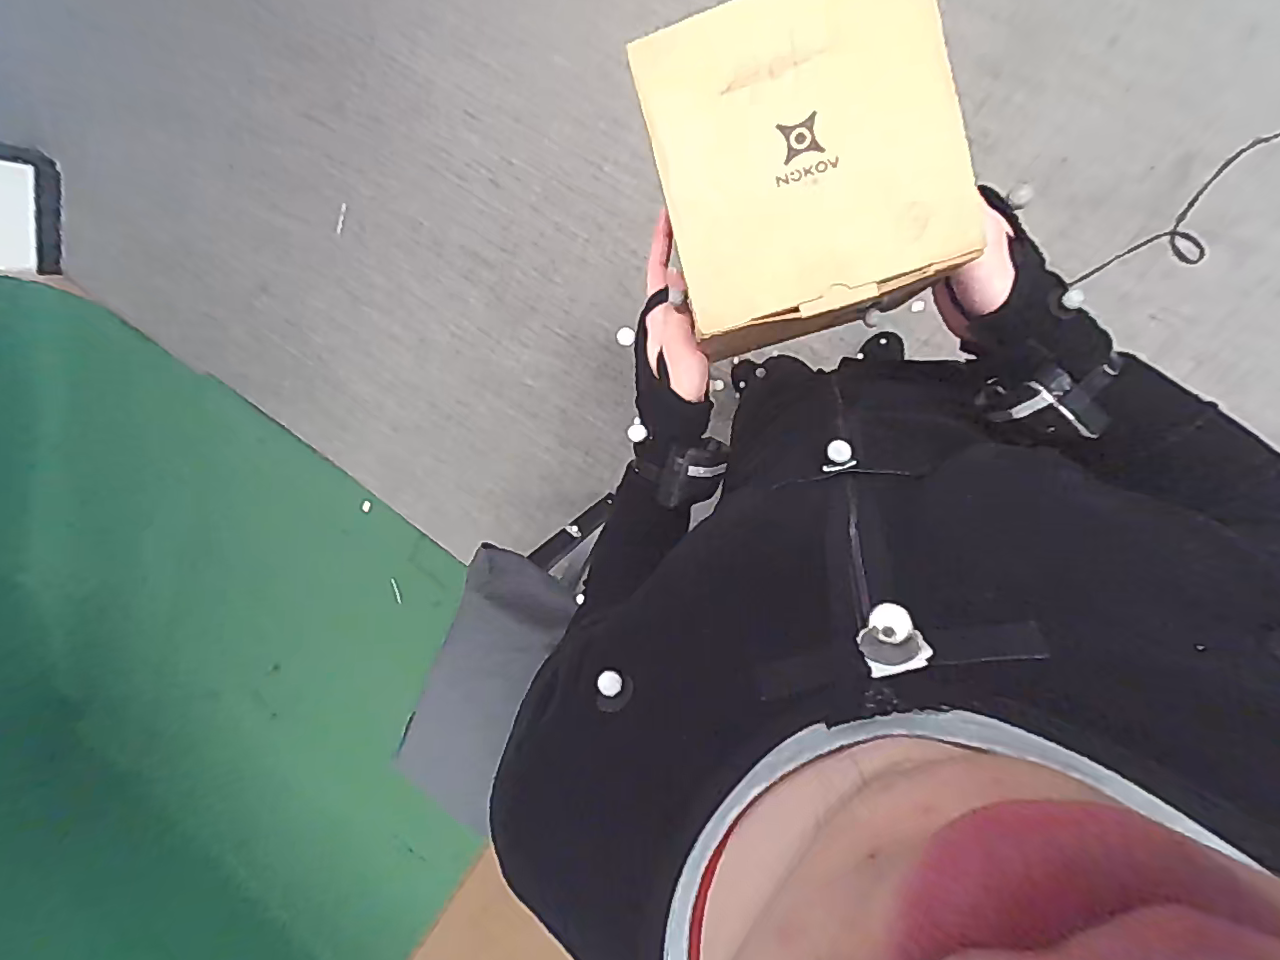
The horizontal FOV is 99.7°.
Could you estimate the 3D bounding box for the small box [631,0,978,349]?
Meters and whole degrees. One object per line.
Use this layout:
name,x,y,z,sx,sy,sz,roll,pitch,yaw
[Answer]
small box,0.105,-0.201,0.389,0.168,0.176,0.179,-14,94,10
